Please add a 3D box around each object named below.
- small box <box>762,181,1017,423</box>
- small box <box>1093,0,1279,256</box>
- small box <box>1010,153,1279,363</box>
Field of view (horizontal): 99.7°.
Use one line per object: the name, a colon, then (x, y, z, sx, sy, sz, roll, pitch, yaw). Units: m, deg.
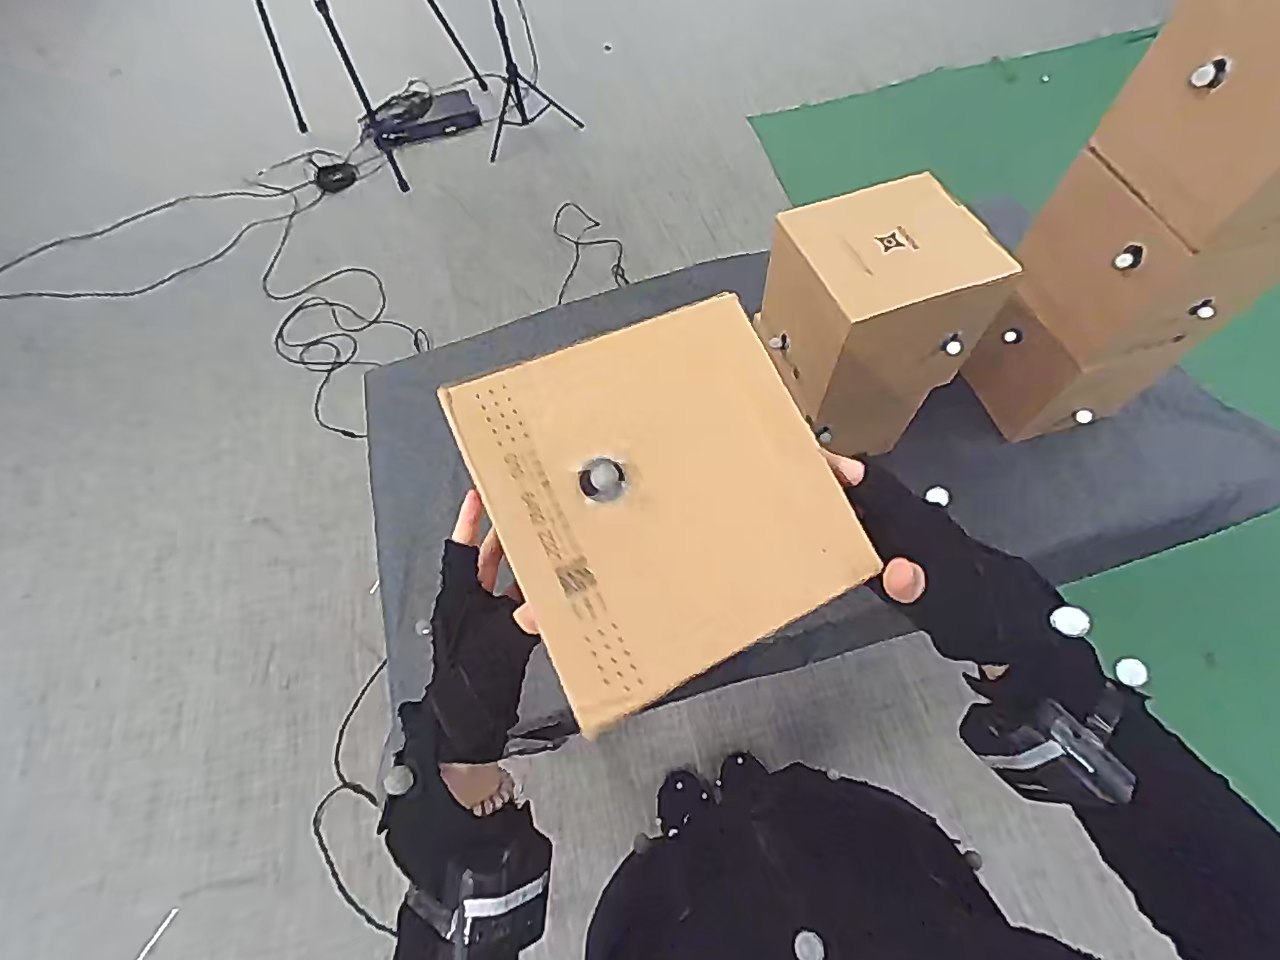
small box: (0.255, -0.191, 0.605, 0.179, 0.176, 0.168, -17, 61, -4)
small box: (0.555, -0.326, 0.463, 0.168, 0.176, 0.179, -12, 61, 0)
small box: (0.570, -0.252, 0.608, 0.168, 0.176, 0.179, -13, 62, -2)
